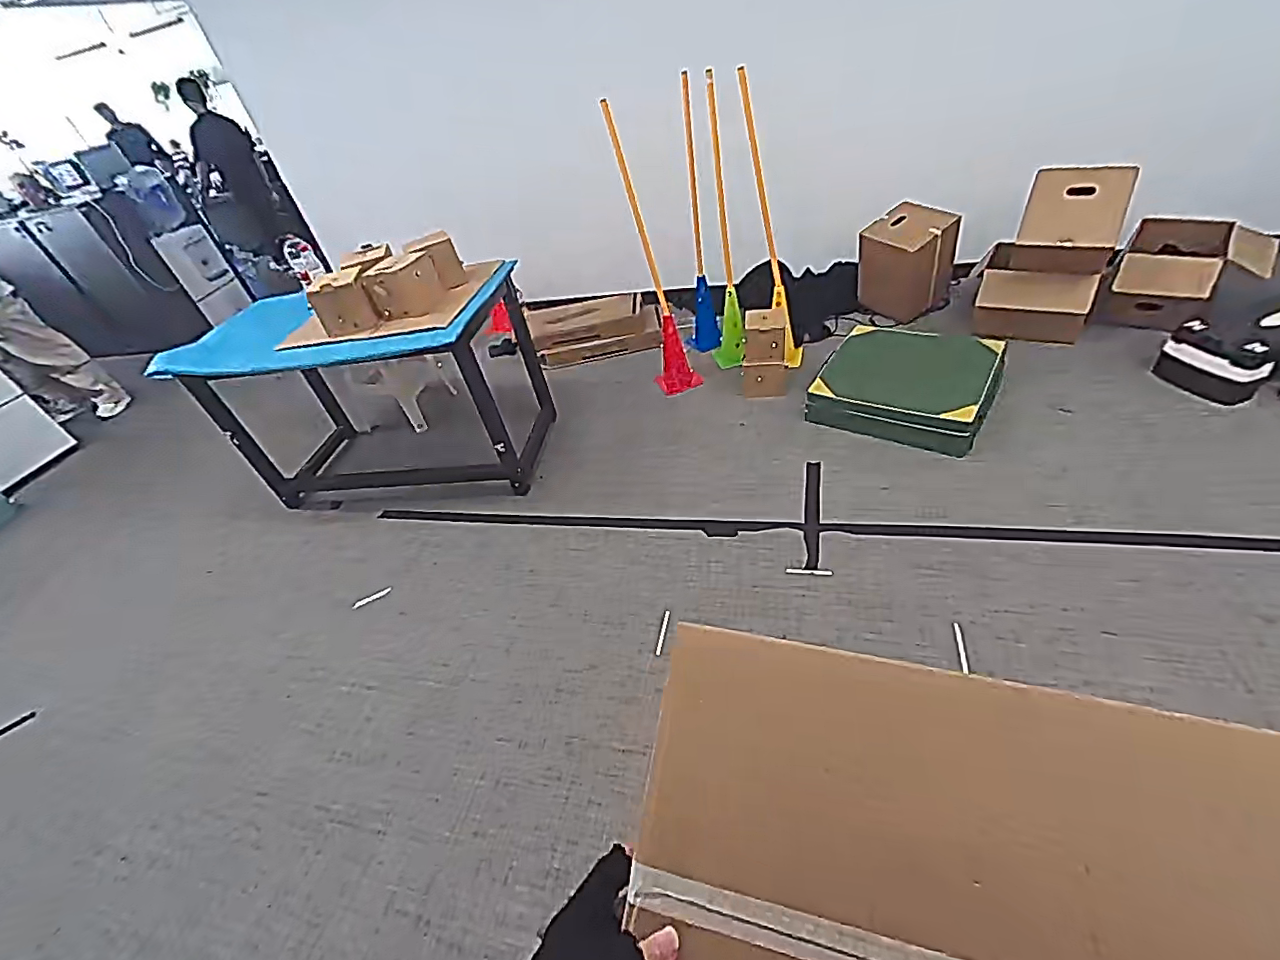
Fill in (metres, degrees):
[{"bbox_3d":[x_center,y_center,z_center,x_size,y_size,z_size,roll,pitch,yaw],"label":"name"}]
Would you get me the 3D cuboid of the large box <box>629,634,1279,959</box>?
[{"bbox_3d":[0.219,0.331,0.417,0.408,0.320,0.320,7,67,15],"label":"large box"}]
